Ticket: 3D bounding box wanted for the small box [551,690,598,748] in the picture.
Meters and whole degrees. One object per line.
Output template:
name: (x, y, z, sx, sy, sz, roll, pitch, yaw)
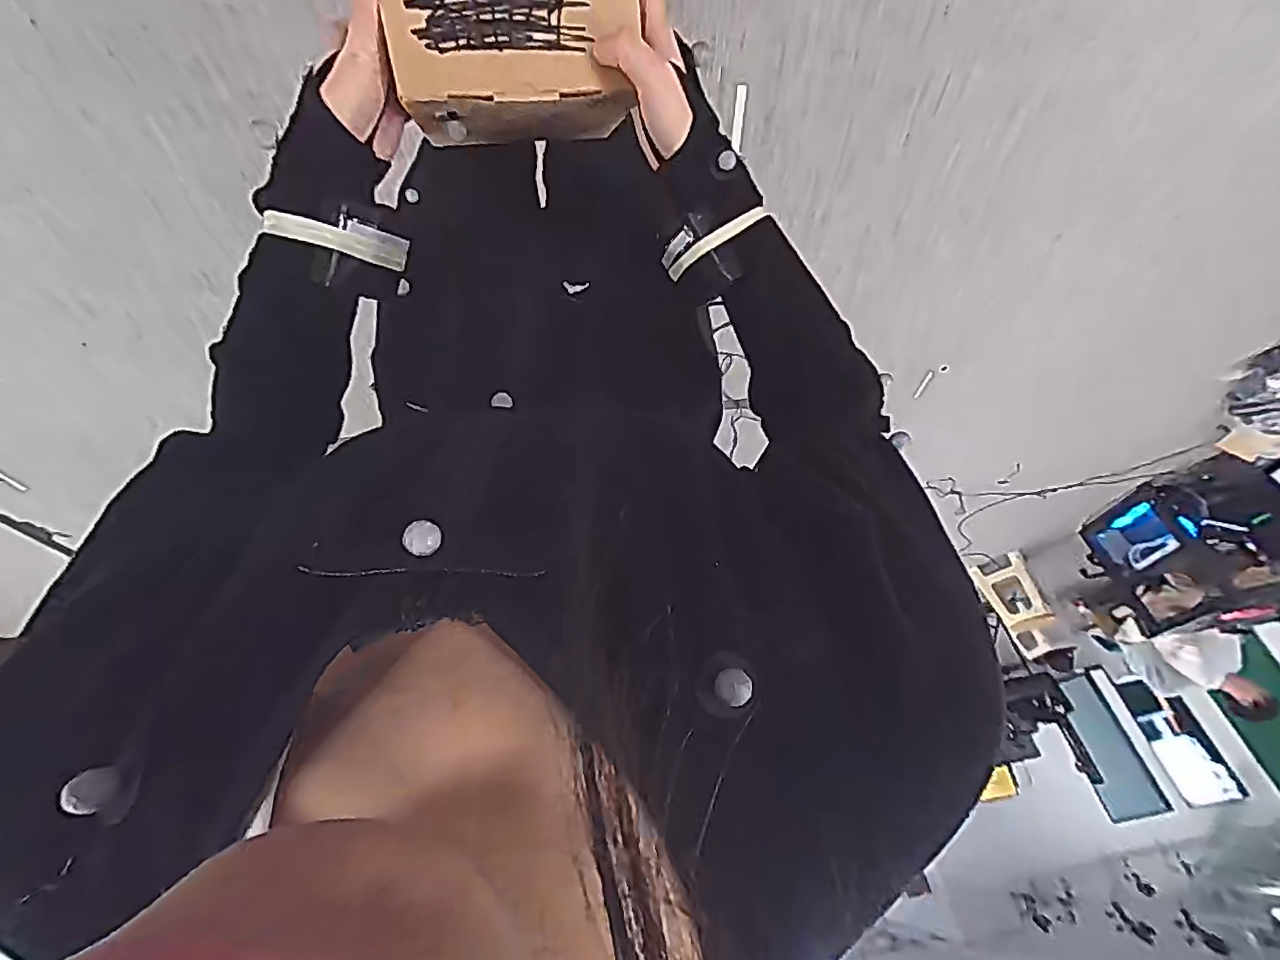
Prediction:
small box: (-0.256, 0.930, 2.103, 0.168, 0.176, 0.179, -6, 147, -9)
